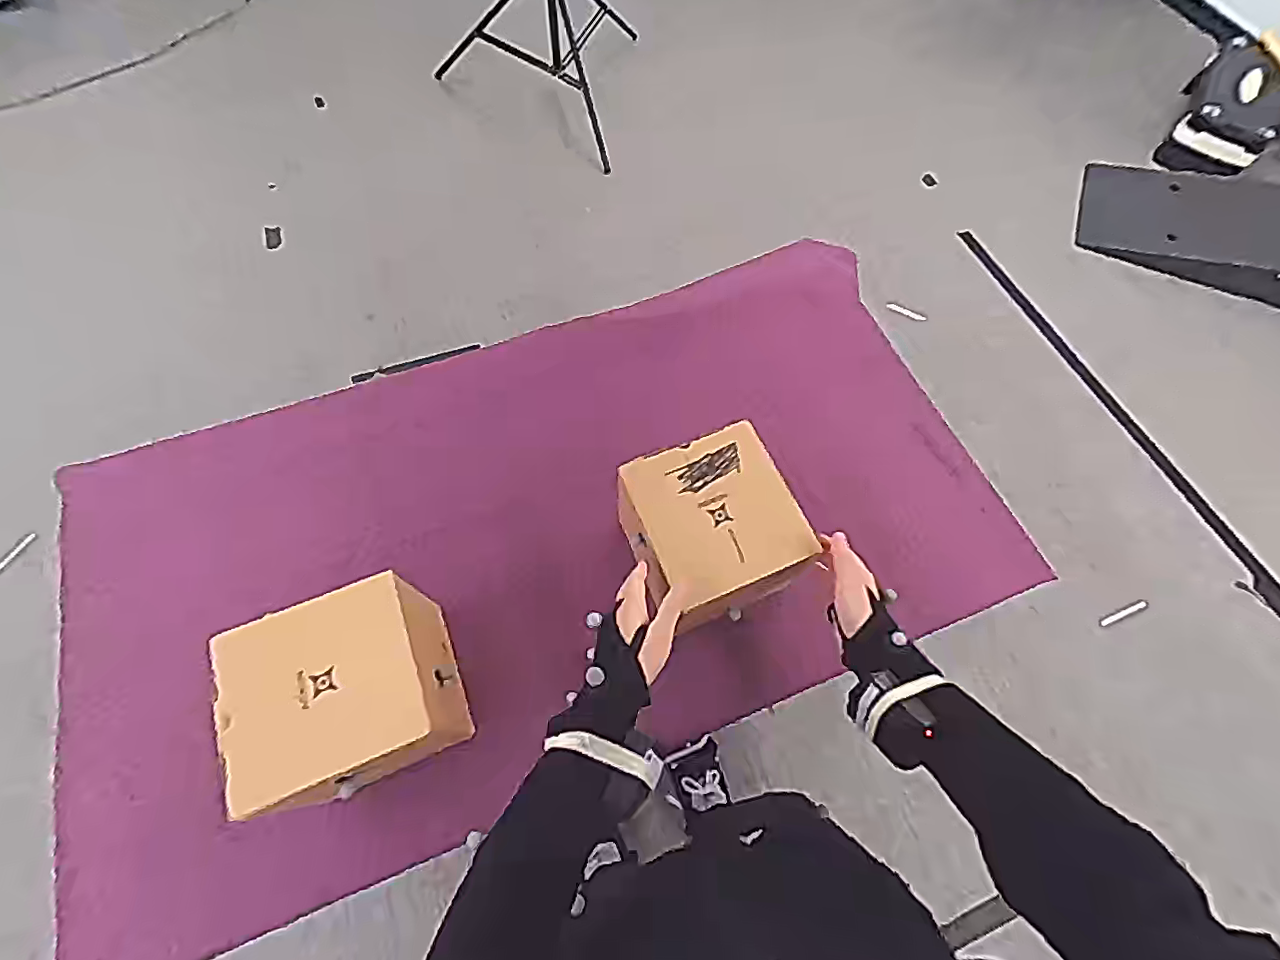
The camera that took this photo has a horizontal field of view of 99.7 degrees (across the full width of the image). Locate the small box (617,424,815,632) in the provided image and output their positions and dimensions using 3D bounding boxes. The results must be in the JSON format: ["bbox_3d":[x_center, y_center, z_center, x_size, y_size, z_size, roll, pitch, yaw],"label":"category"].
[{"bbox_3d":[0.076,0.065,0.658,0.168,0.176,0.179,-20,68,-10],"label":"small box"}]

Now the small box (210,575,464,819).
[{"bbox_3d":[-0.303,0.224,0.576,0.179,0.176,0.168,-21,68,-11],"label":"small box"}]
